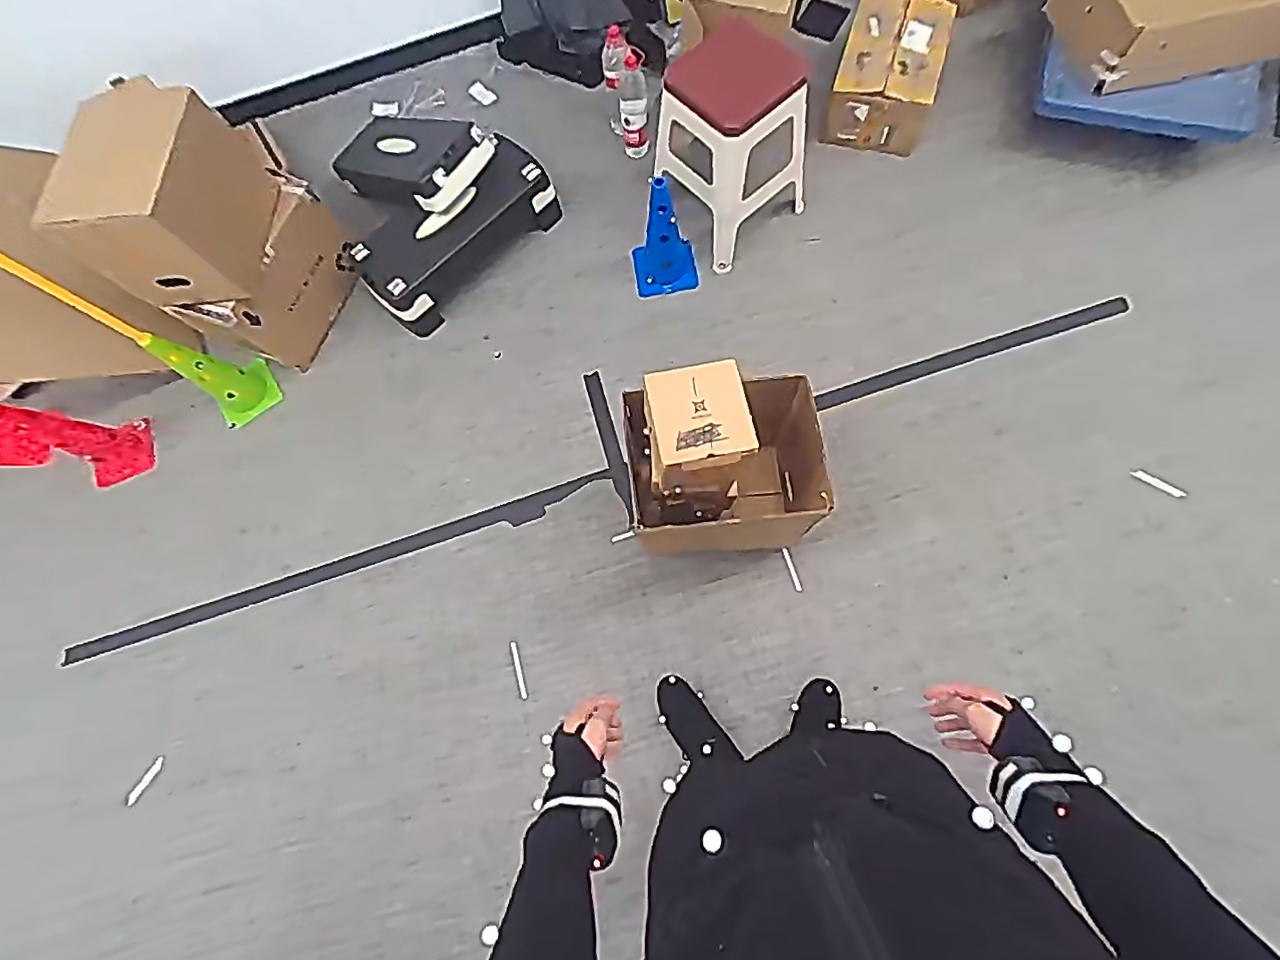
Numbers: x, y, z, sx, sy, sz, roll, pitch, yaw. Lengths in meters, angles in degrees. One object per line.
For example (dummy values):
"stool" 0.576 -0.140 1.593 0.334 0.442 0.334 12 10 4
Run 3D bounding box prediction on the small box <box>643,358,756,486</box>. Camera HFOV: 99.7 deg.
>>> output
"small box" 0.103 -0.095 0.991 0.168 0.176 0.179 -11 74 -2
